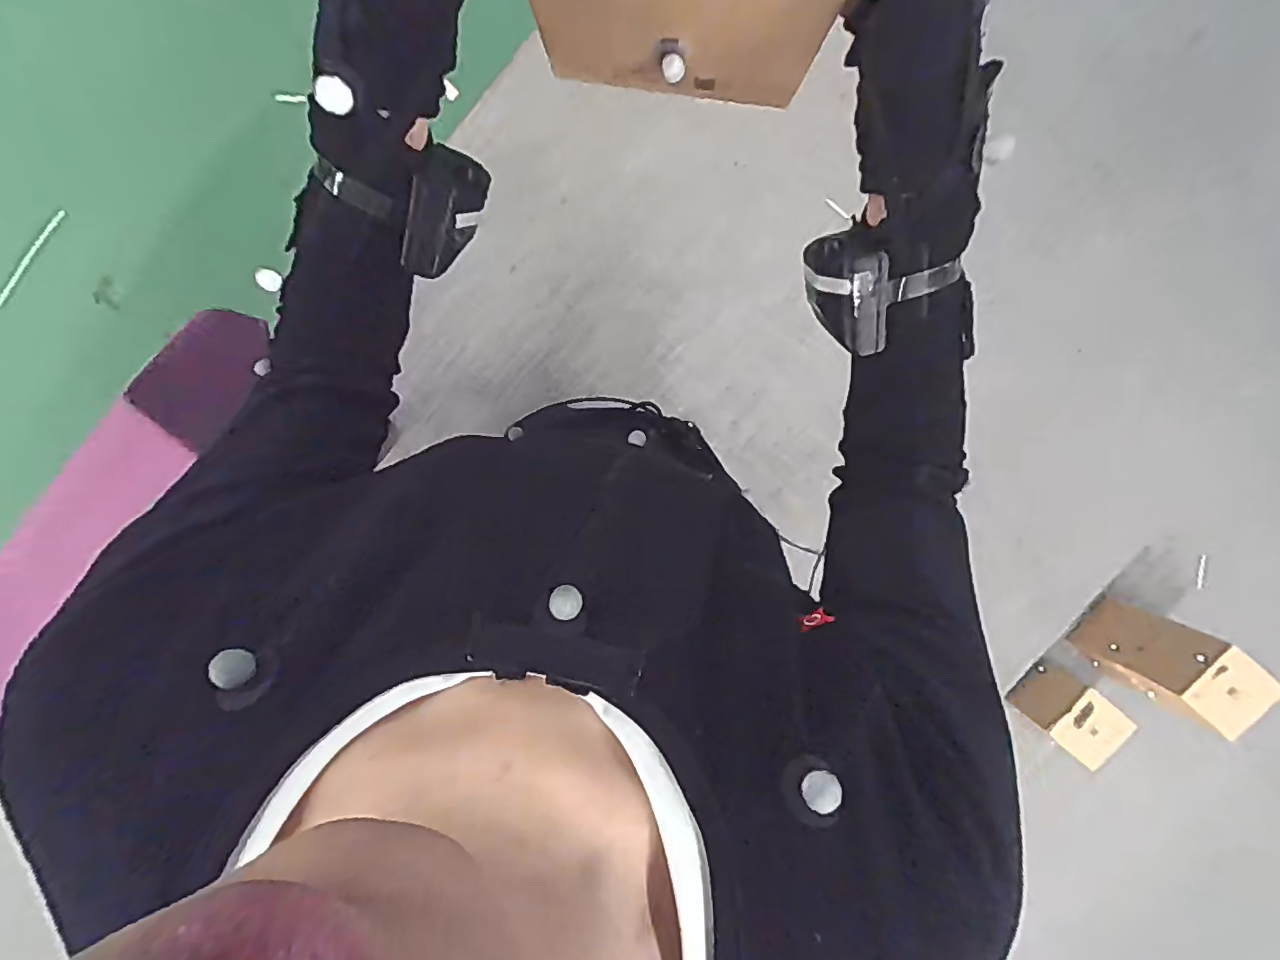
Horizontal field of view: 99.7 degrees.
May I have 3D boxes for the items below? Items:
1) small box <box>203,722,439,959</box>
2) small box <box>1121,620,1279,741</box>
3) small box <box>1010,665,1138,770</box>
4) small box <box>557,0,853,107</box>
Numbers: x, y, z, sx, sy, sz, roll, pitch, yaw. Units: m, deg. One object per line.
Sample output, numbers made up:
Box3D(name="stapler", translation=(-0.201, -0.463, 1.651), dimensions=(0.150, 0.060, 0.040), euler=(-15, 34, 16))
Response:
Box3D(name="small box", translation=(-0.404, 0.471, 0.721), dimensions=(0.179, 0.176, 0.168), euler=(-44, 96, 5))
Box3D(name="small box", translation=(1.327, 0.467, 1.288), dimensions=(0.179, 0.176, 0.168), euler=(40, 96, -6))
Box3D(name="small box", translation=(1.168, 0.633, 1.472), dimensions=(0.179, 0.176, 0.168), euler=(39, 96, -5))
Box3D(name="small box", translation=(0.039, -0.339, 0.280), dimensions=(0.168, 0.176, 0.179), euler=(8, 102, -1))
